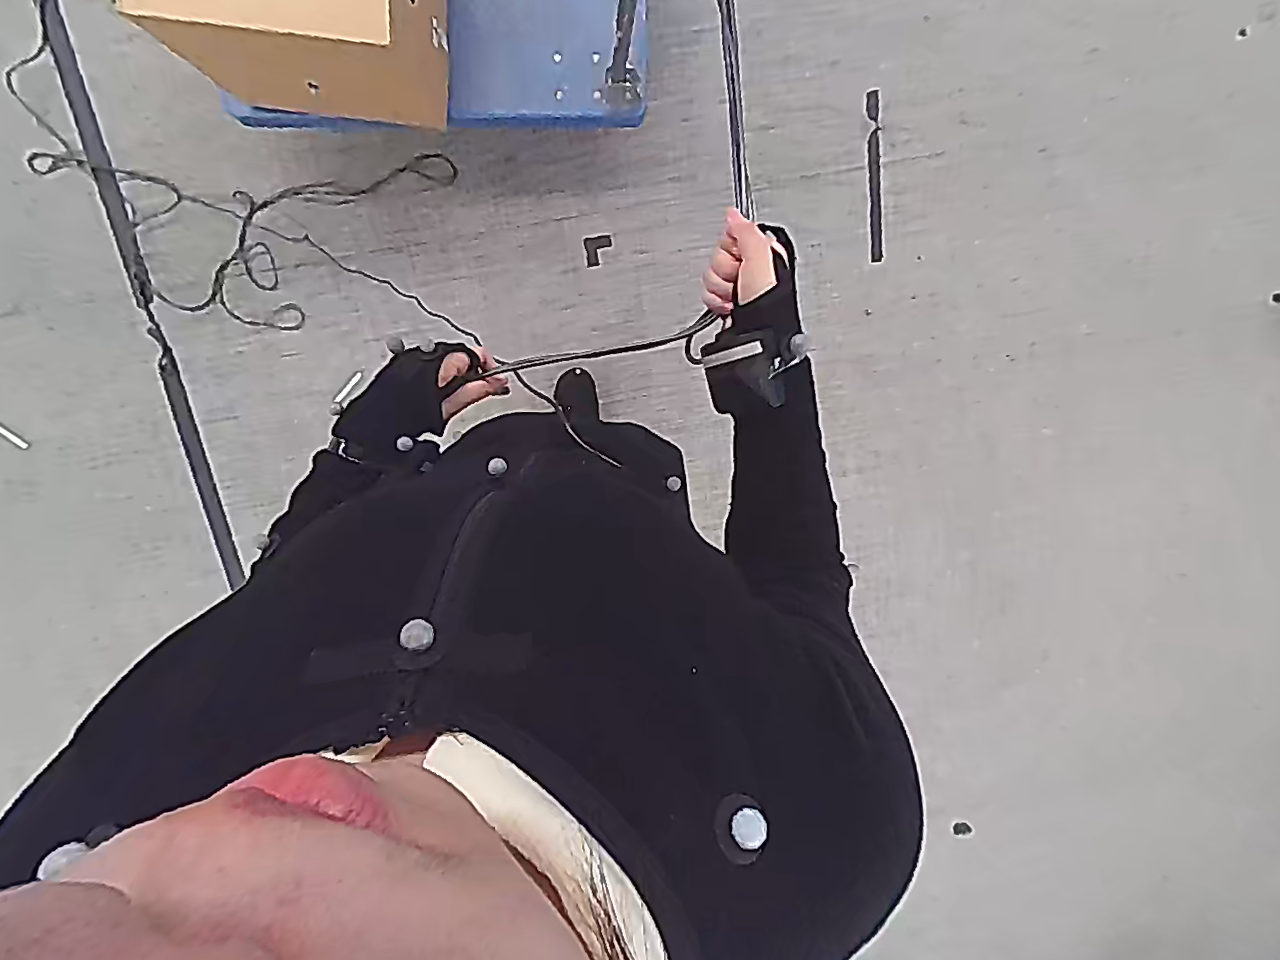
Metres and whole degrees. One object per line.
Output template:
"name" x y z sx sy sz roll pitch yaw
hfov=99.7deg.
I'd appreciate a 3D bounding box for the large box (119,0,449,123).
"large box" -0.577 -0.862 0.935 0.408 0.320 0.320 3 101 -4
